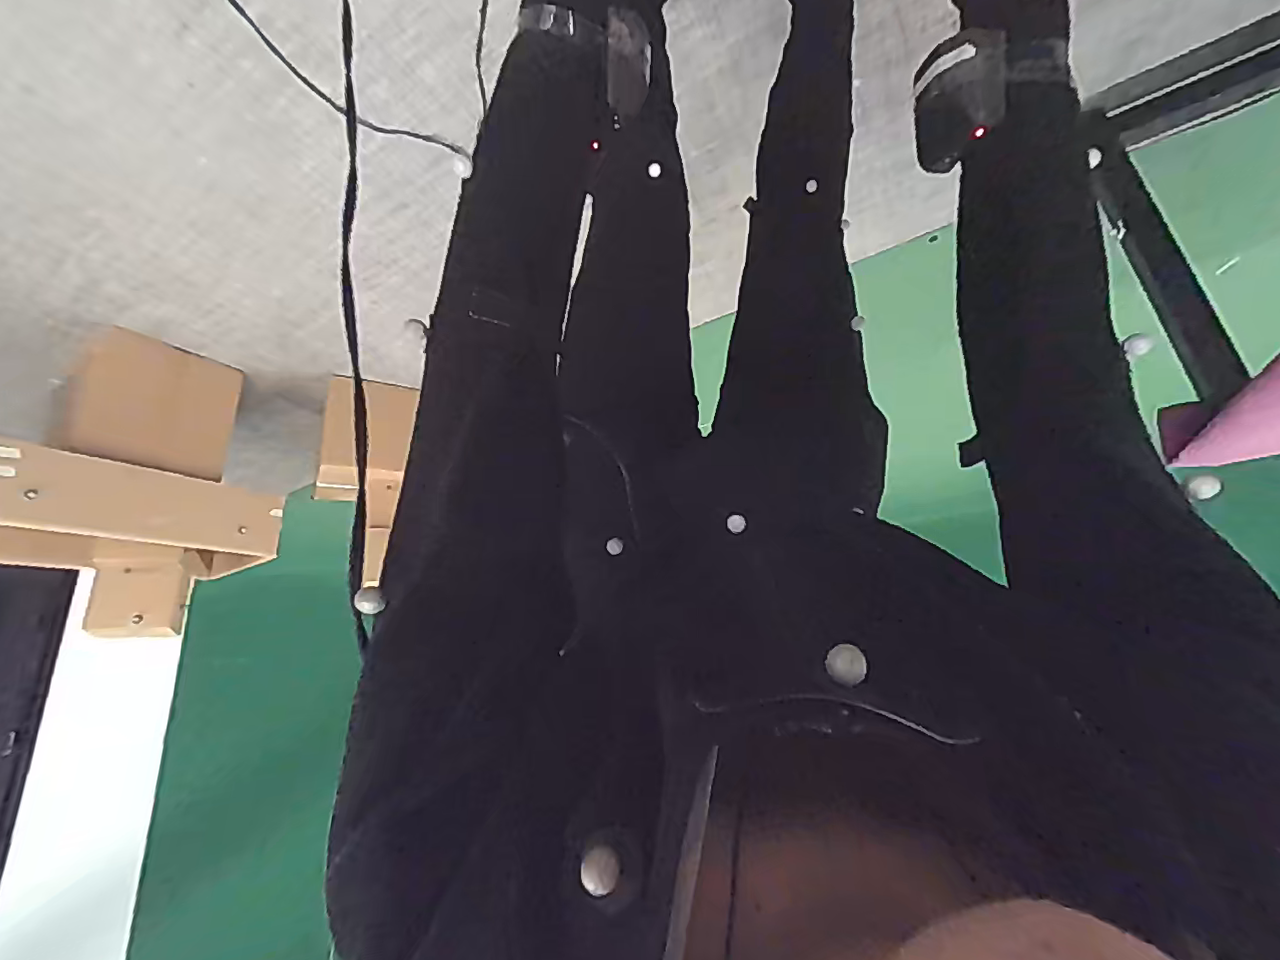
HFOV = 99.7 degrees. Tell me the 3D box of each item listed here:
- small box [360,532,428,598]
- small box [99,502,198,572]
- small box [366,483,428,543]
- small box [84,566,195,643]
[{"bbox_3d":[-0.768,0.270,1.692,0.168,0.176,0.179,7,155,-32],"label":"small box"},{"bbox_3d":[-1.306,0.167,1.446,0.168,0.176,0.179,11,154,-35],"label":"small box"},{"bbox_3d":[-0.790,0.122,1.760,0.168,0.176,0.179,5,157,-28],"label":"small box"},{"bbox_3d":[-1.284,0.325,1.402,0.168,0.176,0.179,7,156,-30],"label":"small box"}]
